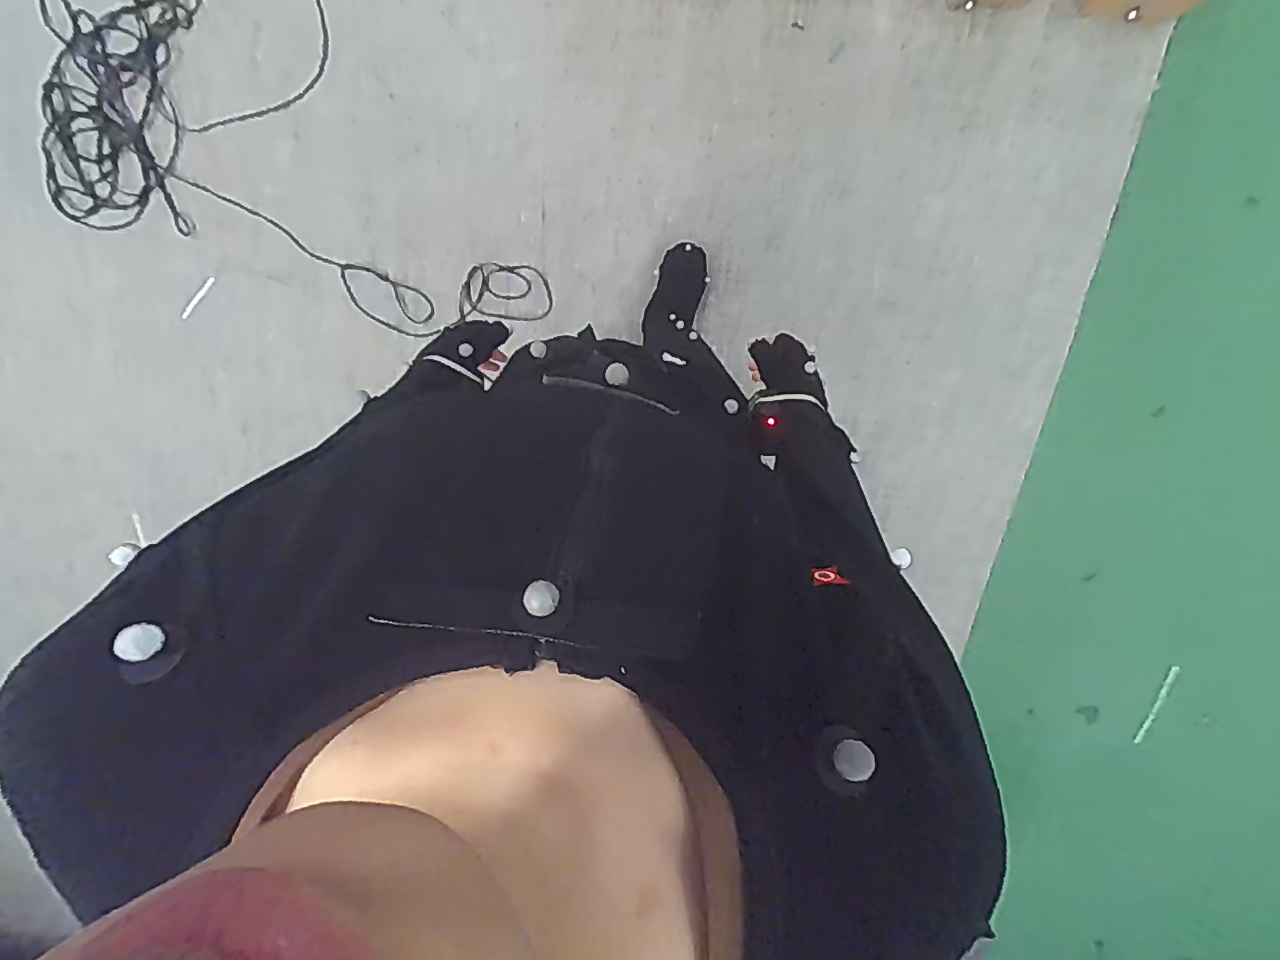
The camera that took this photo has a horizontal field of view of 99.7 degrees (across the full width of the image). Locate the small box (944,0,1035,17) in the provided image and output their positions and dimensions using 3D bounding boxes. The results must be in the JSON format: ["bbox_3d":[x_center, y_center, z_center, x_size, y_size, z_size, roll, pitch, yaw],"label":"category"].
[{"bbox_3d":[0.722,-1.040,1.049,0.168,0.176,0.179,0,108,0],"label":"small box"}]

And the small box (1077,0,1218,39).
[{"bbox_3d":[1.013,-1.011,1.056,0.168,0.176,0.179,5,109,0],"label":"small box"}]
